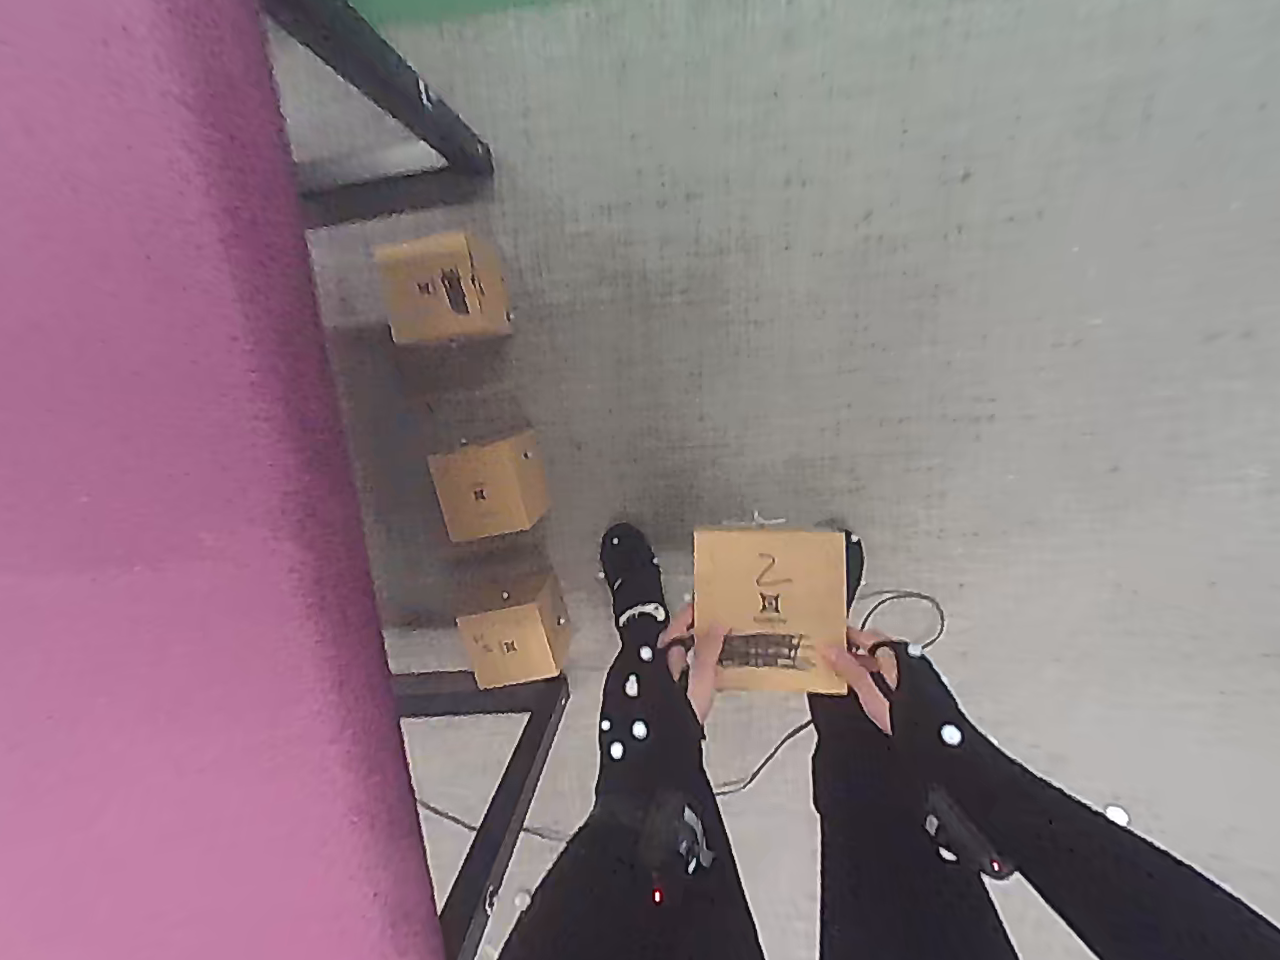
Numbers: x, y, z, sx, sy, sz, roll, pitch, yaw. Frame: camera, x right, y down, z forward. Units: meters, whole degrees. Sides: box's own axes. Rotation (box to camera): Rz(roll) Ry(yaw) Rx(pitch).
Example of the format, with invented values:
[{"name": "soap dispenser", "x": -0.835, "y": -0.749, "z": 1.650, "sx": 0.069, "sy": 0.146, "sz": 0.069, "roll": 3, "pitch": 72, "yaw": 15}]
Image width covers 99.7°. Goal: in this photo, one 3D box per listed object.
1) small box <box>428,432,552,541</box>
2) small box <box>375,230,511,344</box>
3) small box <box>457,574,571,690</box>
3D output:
[{"name": "small box", "x": -0.291, "y": 0.004, "z": 1.086, "sx": 0.168, "sy": 0.176, "sz": 0.179, "roll": -10, "pitch": 102, "yaw": 9}, {"name": "small box", "x": -0.354, "y": -0.352, "z": 1.015, "sx": 0.179, "sy": 0.176, "sz": 0.168, "roll": -7, "pitch": 101, "yaw": 8}, {"name": "small box", "x": -0.255, "y": 0.314, "z": 1.147, "sx": 0.179, "sy": 0.176, "sz": 0.168, "roll": -12, "pitch": 100, "yaw": 8}]
